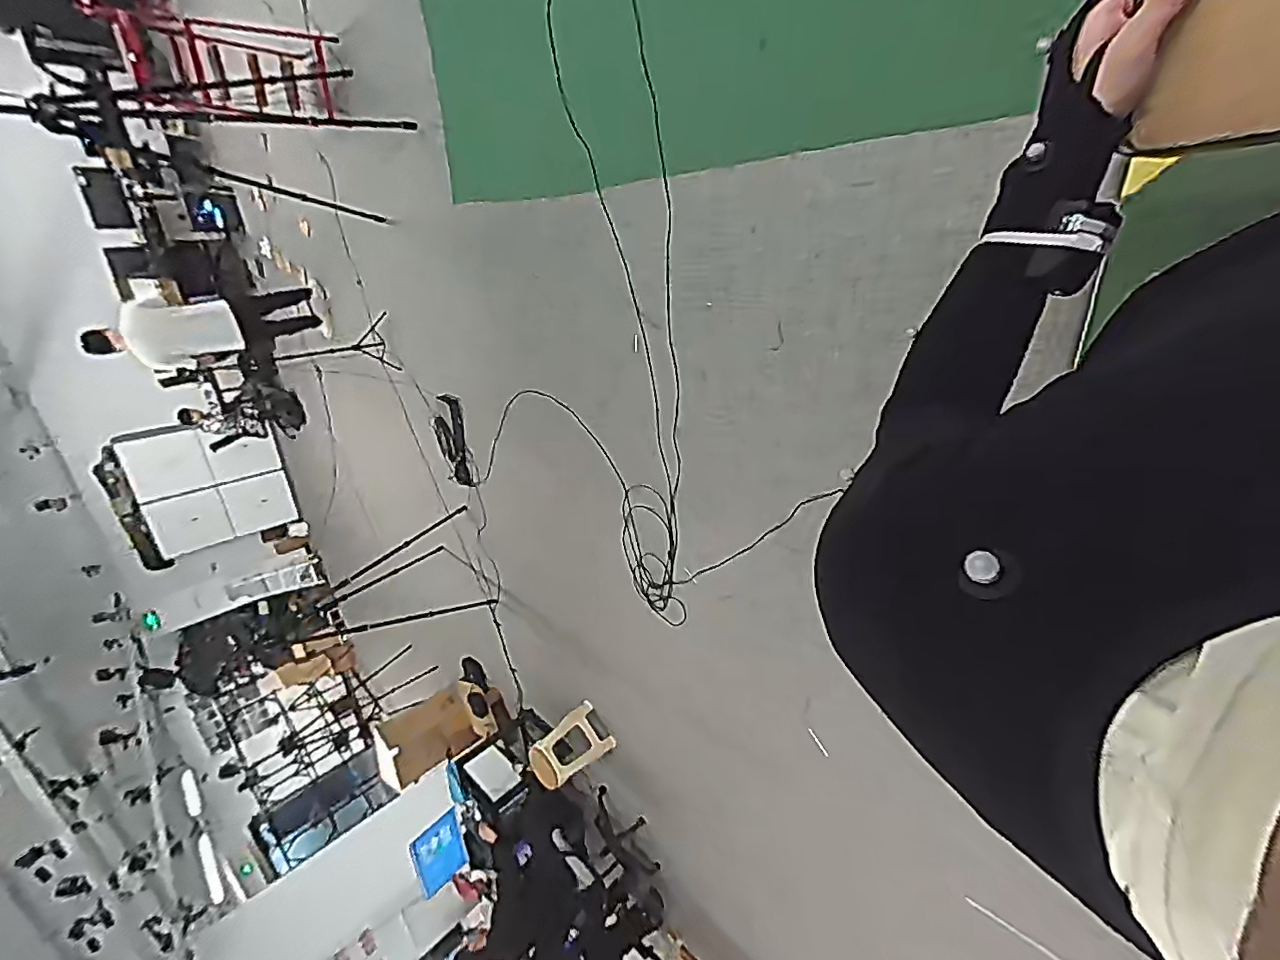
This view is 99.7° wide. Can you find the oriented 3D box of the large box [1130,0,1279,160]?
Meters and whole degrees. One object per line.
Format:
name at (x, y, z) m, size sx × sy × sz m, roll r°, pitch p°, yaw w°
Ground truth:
large box at (0.609, -0.421, 0.335) m, size 0.408 × 0.320 × 0.320 m, roll 15°, pitch 121°, yaw 42°
